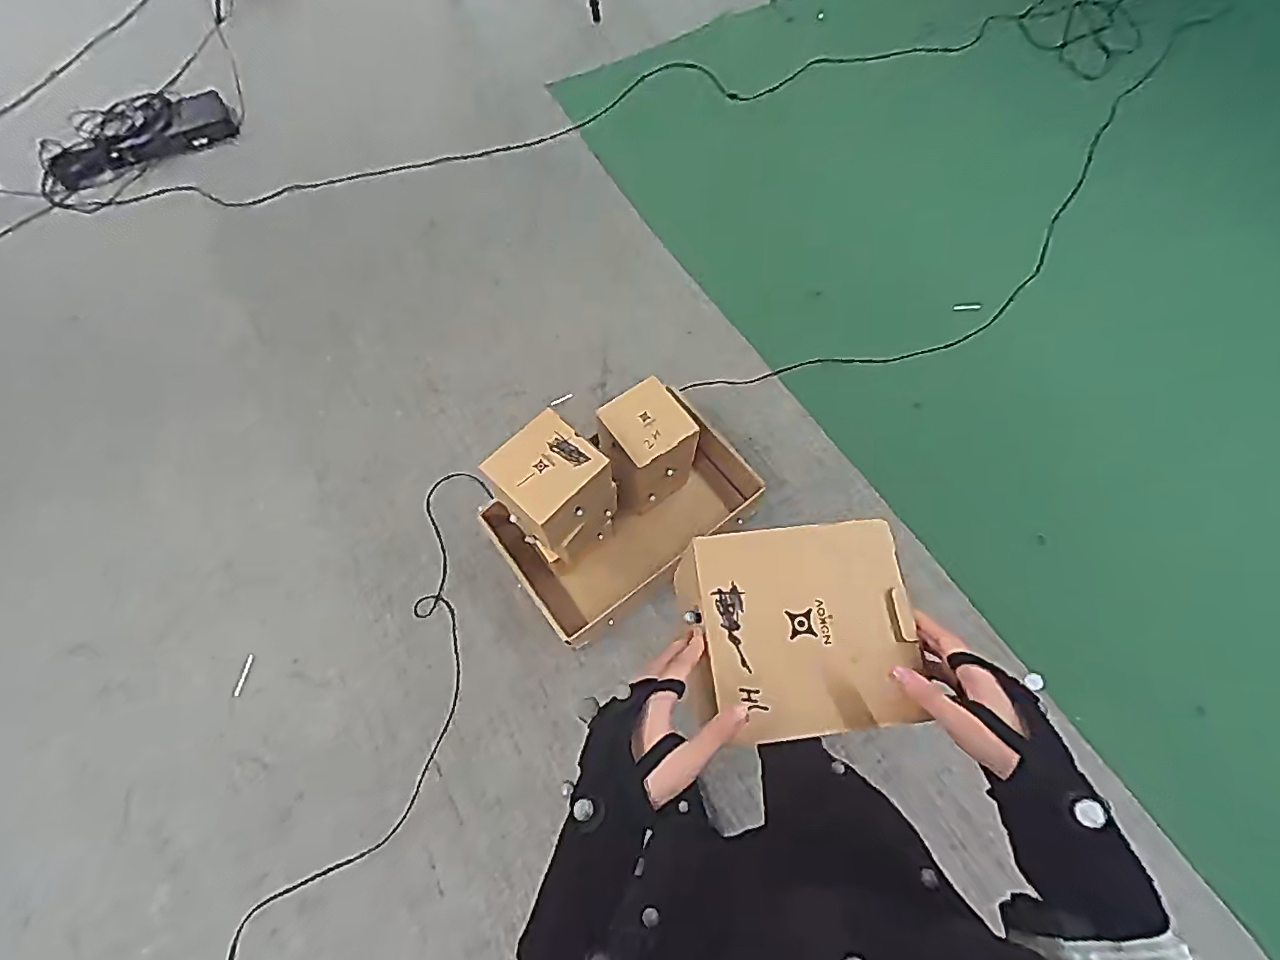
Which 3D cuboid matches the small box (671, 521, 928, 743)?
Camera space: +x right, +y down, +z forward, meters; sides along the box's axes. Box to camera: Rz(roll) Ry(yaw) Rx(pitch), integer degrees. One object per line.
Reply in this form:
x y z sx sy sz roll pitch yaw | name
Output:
0.131 0.145 0.519 0.179 0.176 0.168 -5 70 -4 | small box

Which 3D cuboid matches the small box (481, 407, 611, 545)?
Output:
-0.173 -0.002 1.051 0.168 0.176 0.179 41 73 14 | small box

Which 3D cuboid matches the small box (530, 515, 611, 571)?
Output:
-0.185 0.105 1.360 0.179 0.176 0.168 -35 73 -15 | small box

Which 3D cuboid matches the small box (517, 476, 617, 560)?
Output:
-0.168 0.050 1.206 0.168 0.176 0.179 34 72 12 | small box

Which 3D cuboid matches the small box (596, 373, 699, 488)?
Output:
0.015 -0.110 1.266 0.168 0.176 0.179 -34 72 -11 | small box
